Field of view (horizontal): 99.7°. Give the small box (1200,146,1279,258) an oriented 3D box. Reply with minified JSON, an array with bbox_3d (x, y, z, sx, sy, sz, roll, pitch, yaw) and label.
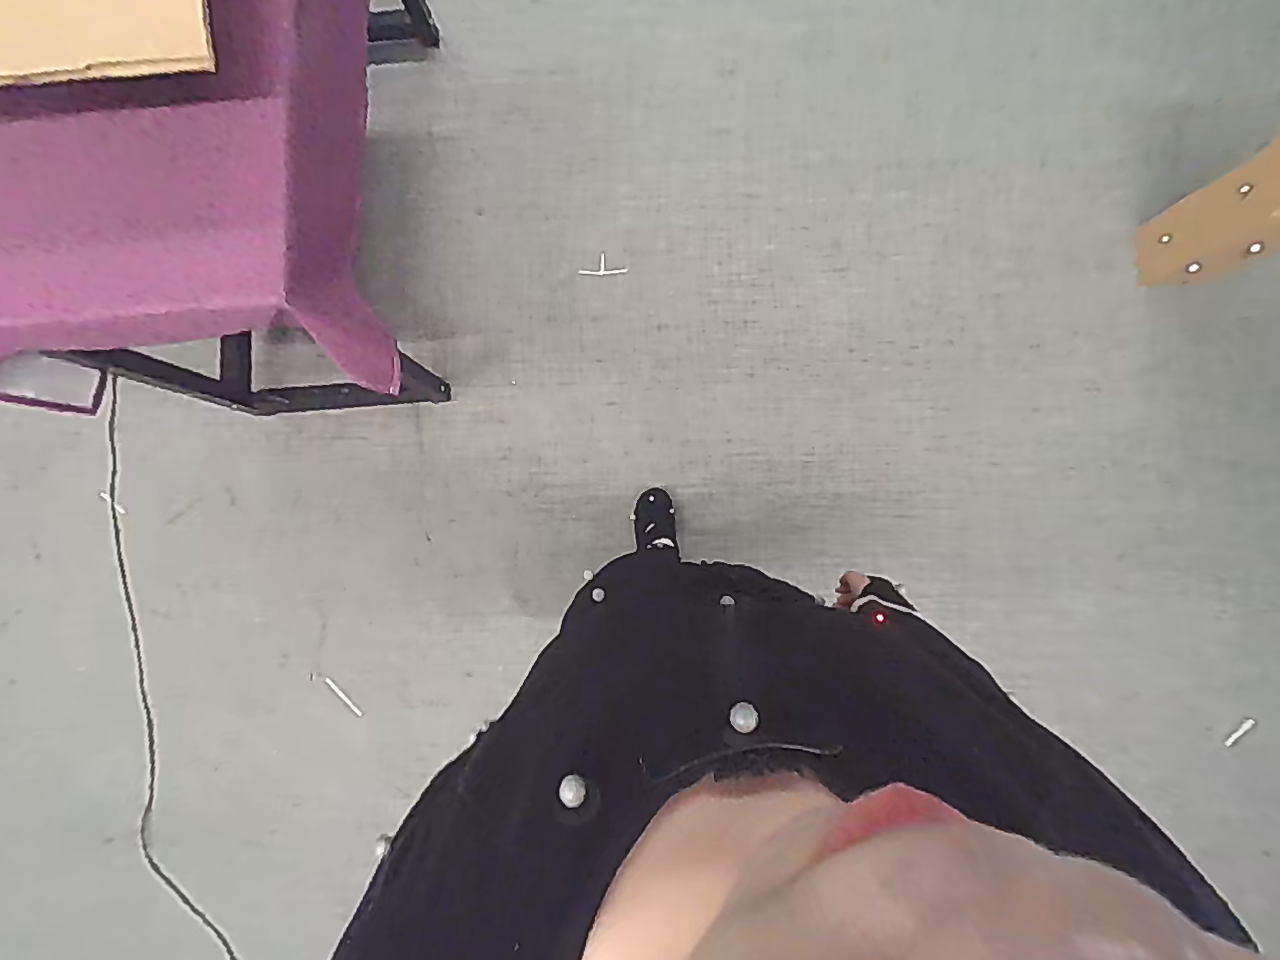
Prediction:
[{"bbox_3d":[1.512,-0.663,1.300,0.168,0.176,0.179,3,84,3],"label":"small box"}]
